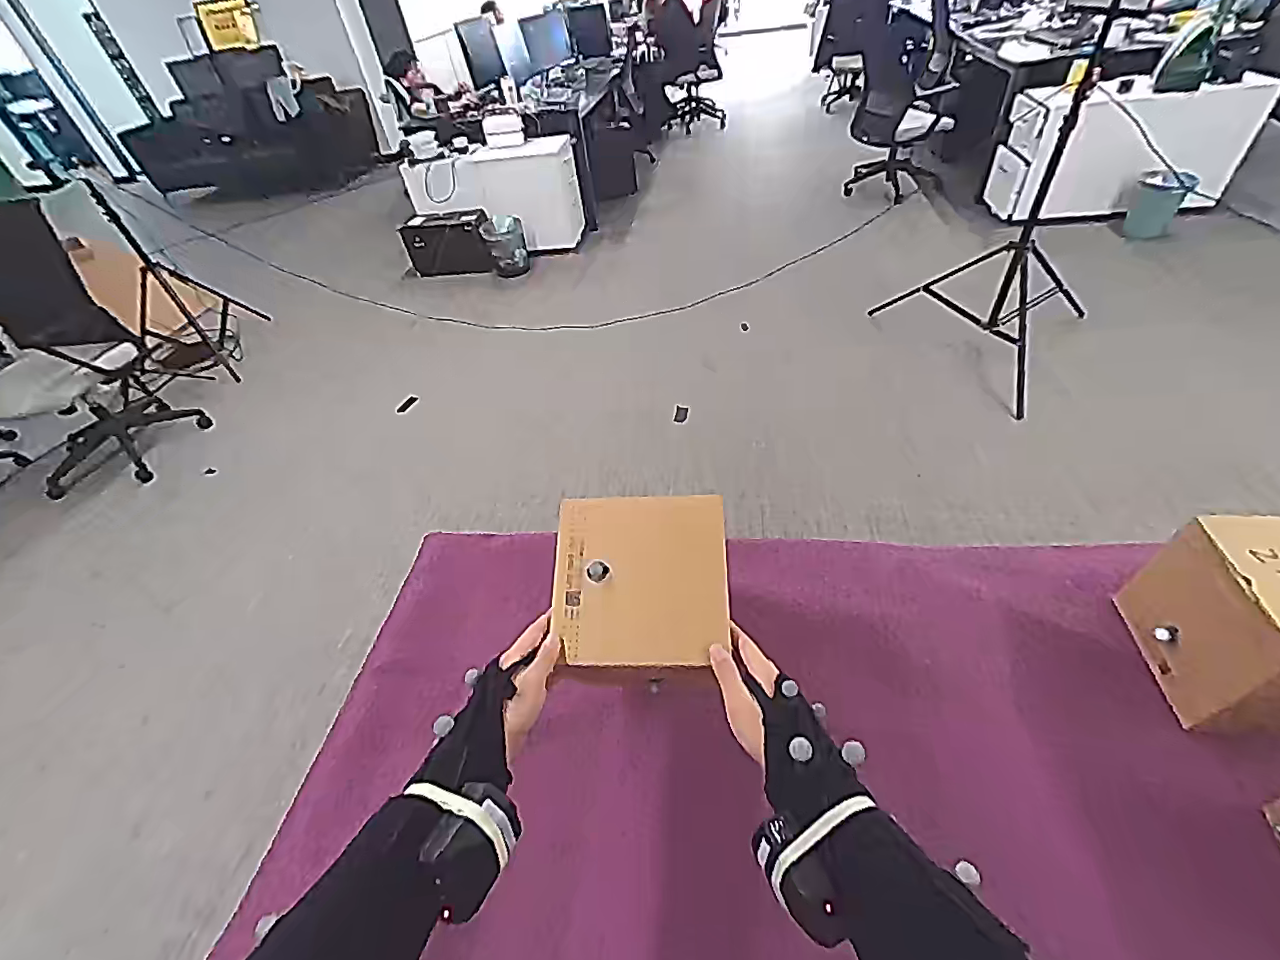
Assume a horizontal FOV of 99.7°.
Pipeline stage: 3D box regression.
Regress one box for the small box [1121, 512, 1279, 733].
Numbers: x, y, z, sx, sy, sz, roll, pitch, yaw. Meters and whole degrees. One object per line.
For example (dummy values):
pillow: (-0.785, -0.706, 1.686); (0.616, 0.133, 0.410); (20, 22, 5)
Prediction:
small box: (0.670, 0.151, 0.561); (0.179, 0.176, 0.168); (0, 45, 9)
